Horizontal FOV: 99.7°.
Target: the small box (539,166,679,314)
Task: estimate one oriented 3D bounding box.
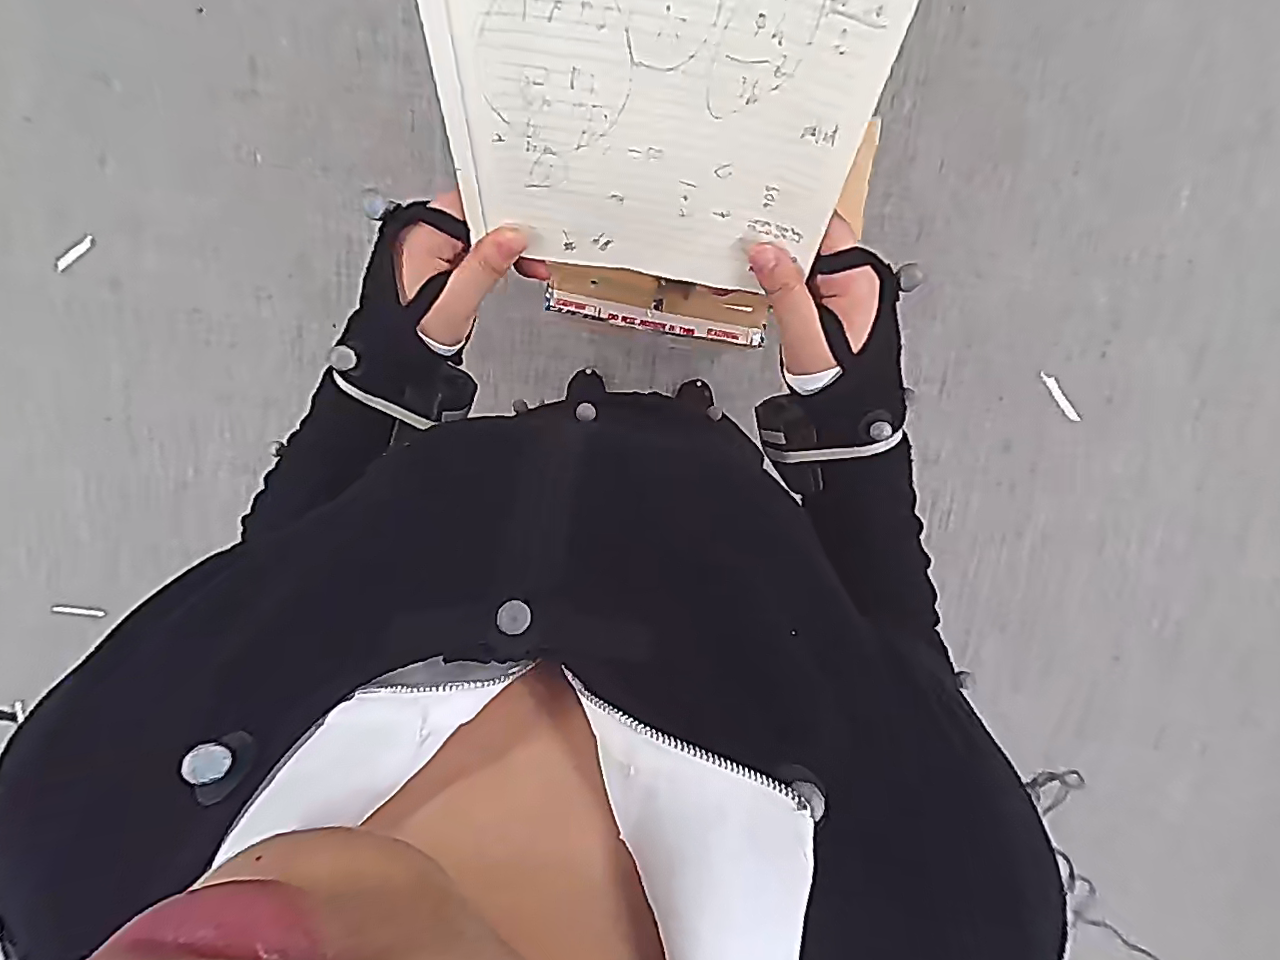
[{"bbox_3d":[-0.043,-0.366,0.859,0.179,0.176,0.168,14,103,0],"label":"small box"}]

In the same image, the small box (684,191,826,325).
[{"bbox_3d":[0.172,-0.341,0.862,0.179,0.176,0.168,4,102,-1],"label":"small box"}]
